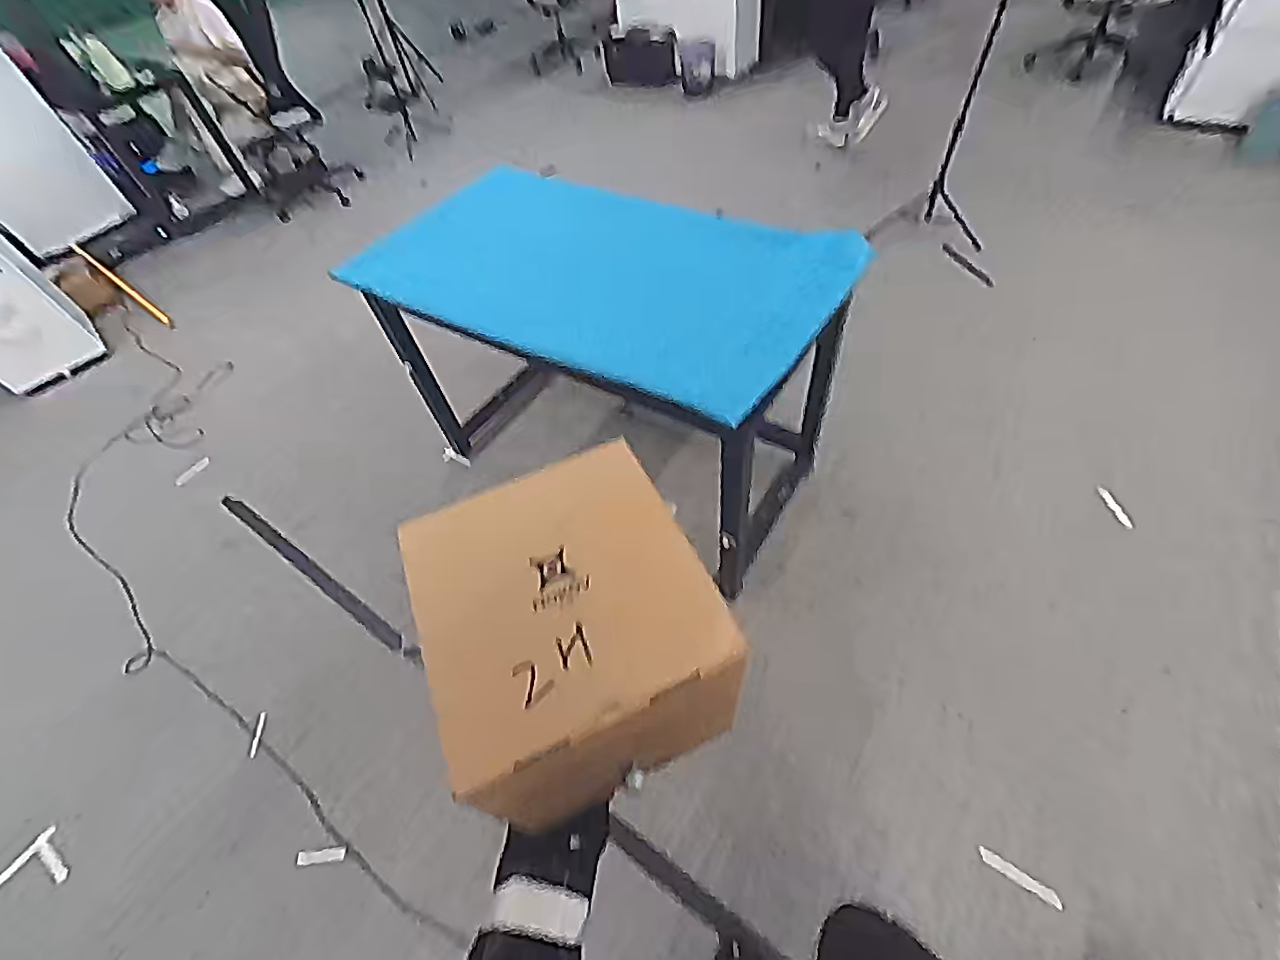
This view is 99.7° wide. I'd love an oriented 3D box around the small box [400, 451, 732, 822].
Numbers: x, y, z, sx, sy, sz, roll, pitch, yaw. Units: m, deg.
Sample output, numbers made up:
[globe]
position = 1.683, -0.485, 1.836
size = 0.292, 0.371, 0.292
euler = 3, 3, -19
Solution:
[small box]
position = -0.049, 0.115, 0.388
size = 0.168, 0.176, 0.179
euler = -21, 55, -8
